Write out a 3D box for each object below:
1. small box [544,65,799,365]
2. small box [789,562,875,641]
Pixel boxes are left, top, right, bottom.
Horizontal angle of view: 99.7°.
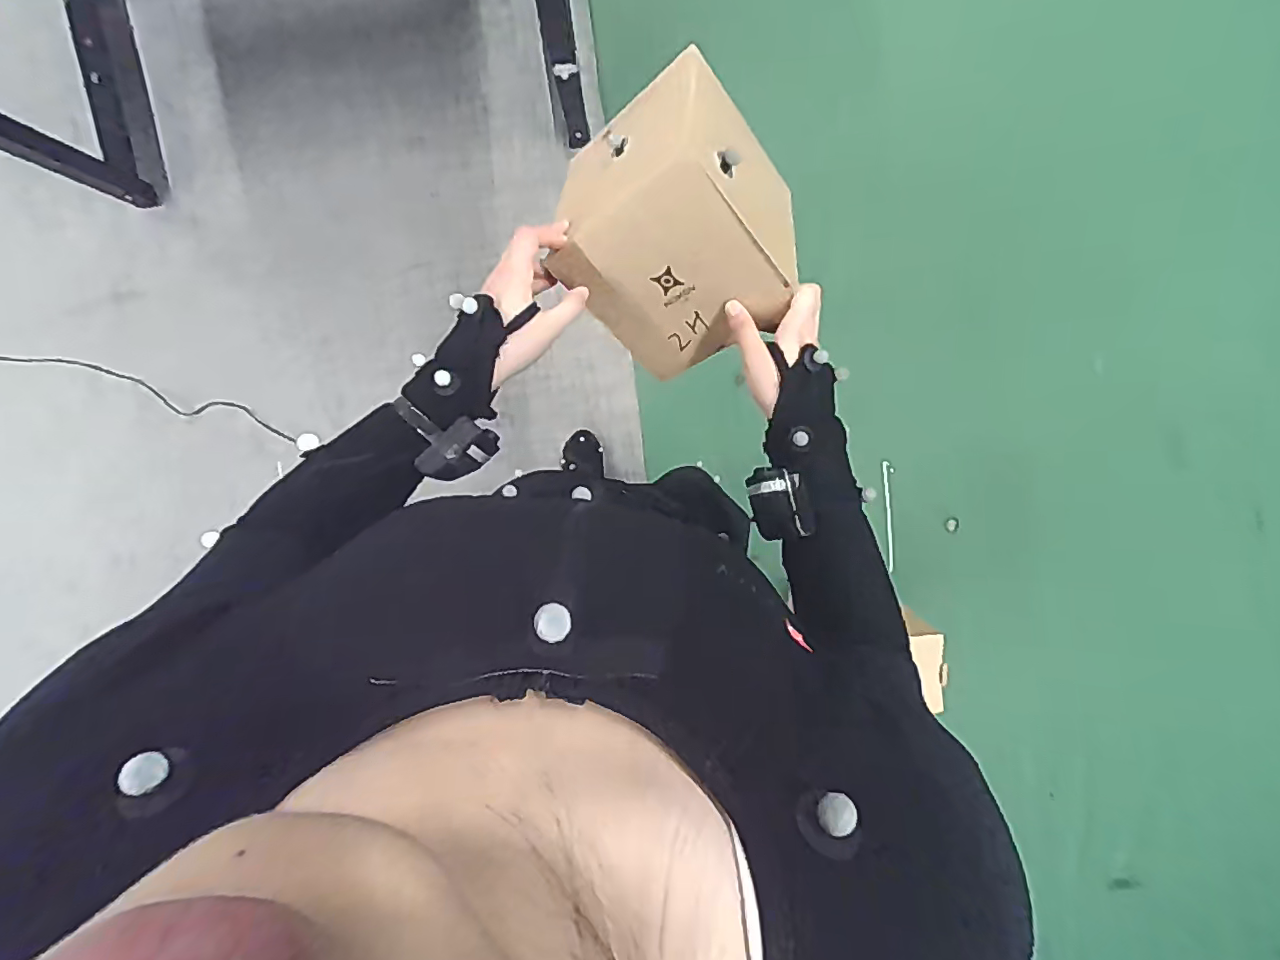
[{"bbox_3d":[0.035,-0.252,0.526,0.179,0.168,0.176,31,52,-39],"label":"small box"},{"bbox_3d":[0.507,0.323,1.454,0.179,0.176,0.168,0,98,-1],"label":"small box"}]
